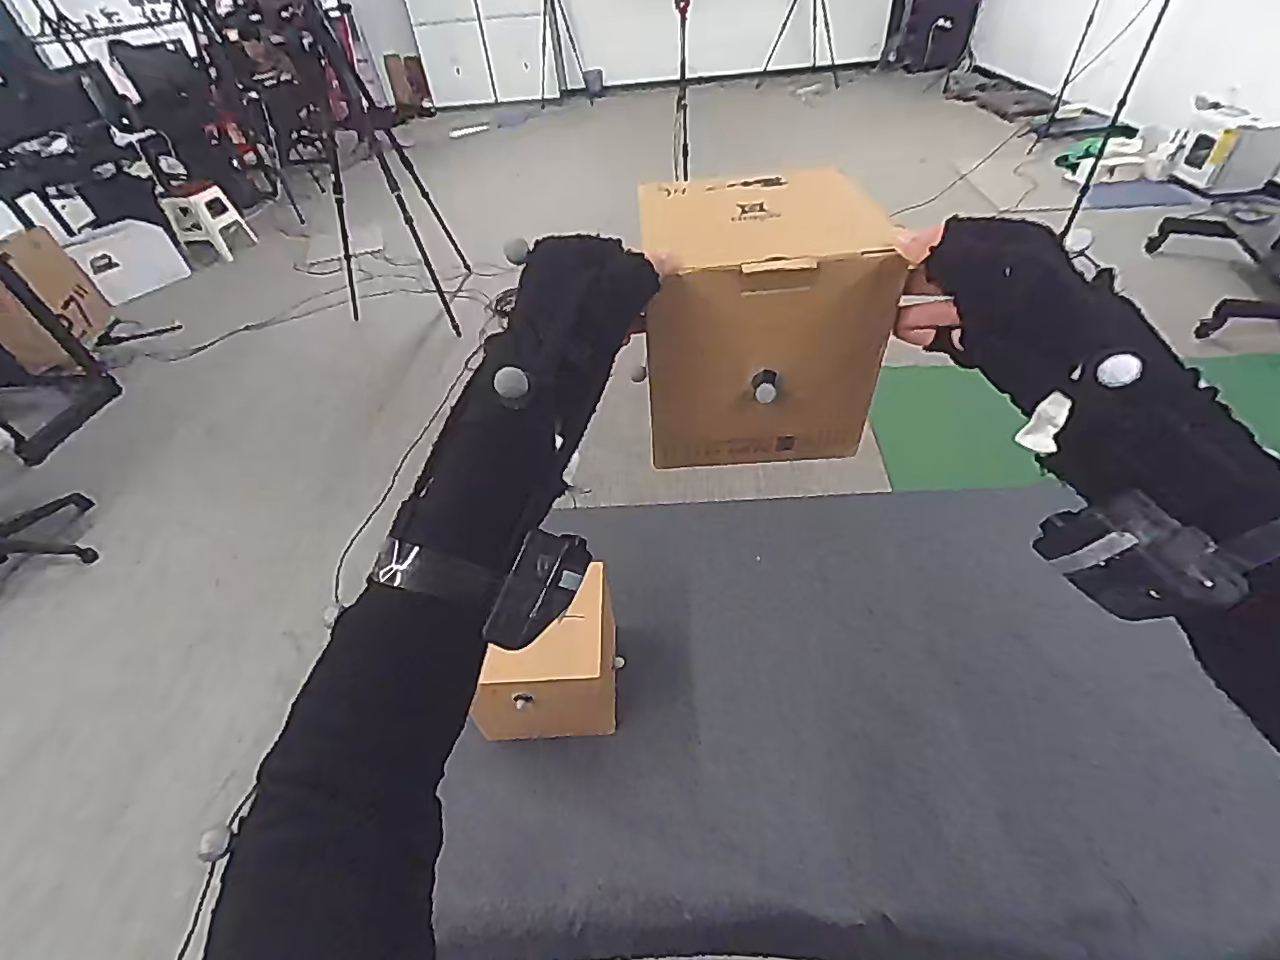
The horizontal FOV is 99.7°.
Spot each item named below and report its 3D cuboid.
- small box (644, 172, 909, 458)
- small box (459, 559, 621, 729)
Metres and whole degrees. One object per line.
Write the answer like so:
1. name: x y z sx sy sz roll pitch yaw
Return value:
1. small box: 0.091 -0.130 0.447 0.168 0.176 0.179 -3 45 2
2. small box: -0.121 0.226 0.738 0.179 0.176 0.168 -3 45 2
